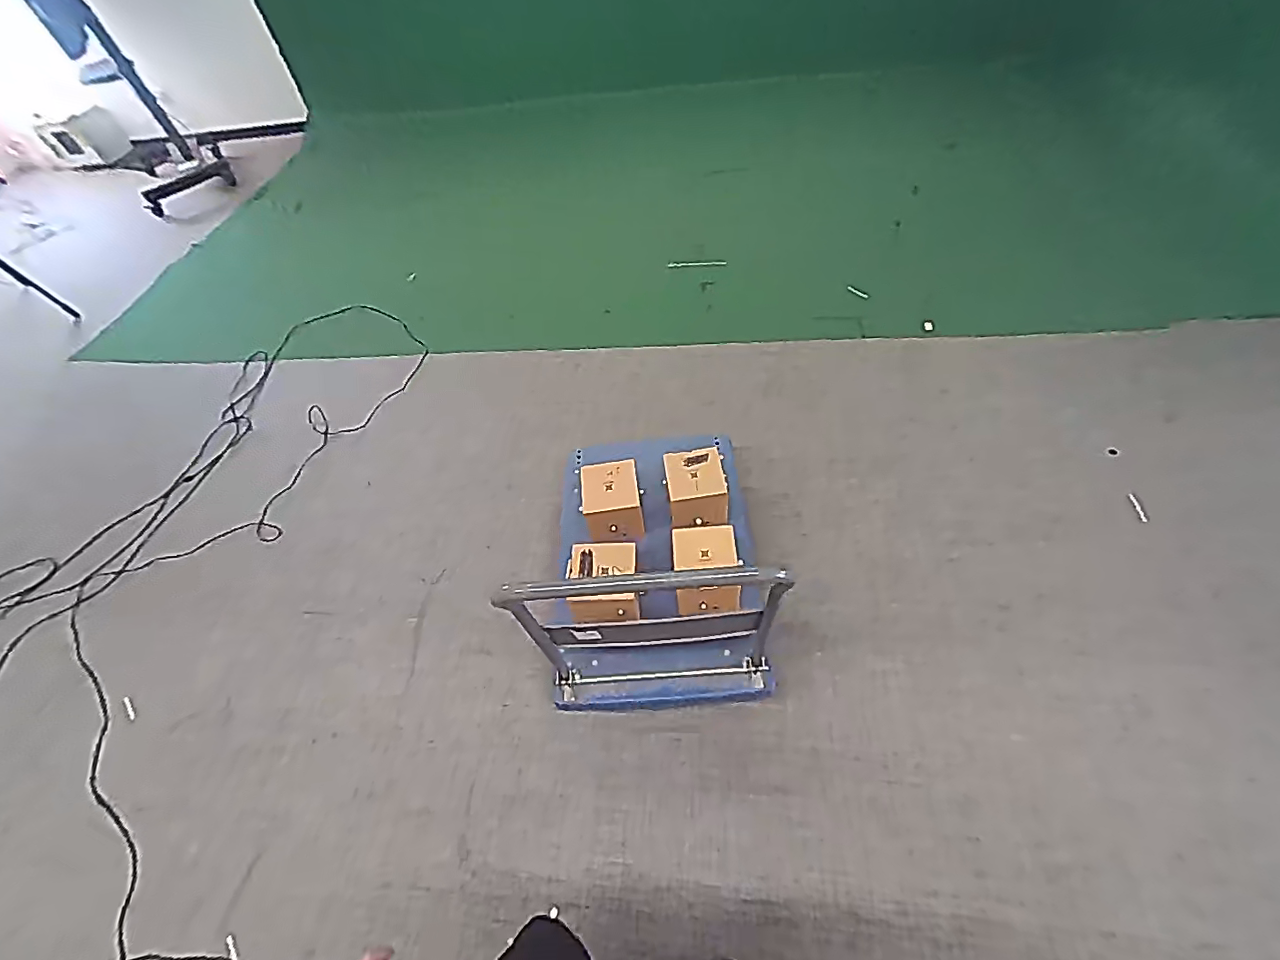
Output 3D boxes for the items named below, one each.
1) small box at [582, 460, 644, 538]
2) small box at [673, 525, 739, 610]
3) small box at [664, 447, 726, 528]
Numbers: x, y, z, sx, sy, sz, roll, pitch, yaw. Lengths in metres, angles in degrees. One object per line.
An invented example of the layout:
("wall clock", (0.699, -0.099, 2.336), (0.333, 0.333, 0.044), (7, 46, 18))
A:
("small box", (-0.082, 0.064, 1.661), (0.168, 0.176, 0.179), (-8, 53, 1))
("small box", (0.178, 0.244, 1.494), (0.168, 0.176, 0.179), (-5, 53, 4))
("small box", (0.167, 0.026, 1.655), (0.168, 0.176, 0.179), (-9, 54, 2))
